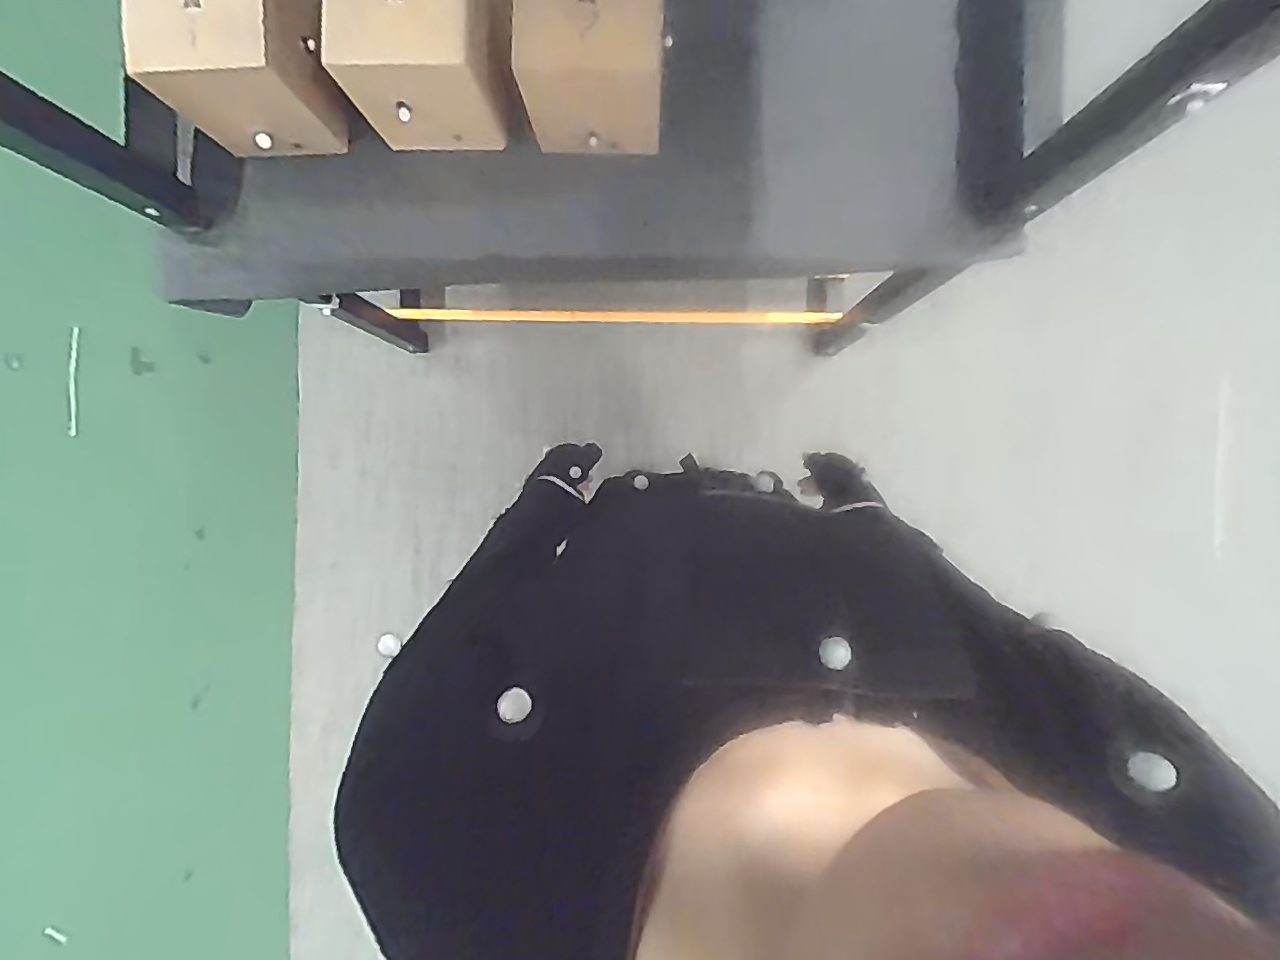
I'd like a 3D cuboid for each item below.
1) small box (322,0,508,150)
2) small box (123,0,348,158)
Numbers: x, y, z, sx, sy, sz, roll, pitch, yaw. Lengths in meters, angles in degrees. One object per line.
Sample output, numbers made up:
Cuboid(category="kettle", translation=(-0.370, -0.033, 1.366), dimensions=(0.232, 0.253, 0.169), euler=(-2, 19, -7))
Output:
Cuboid(category="small box", translation=(-0.270, -0.548, 0.682), dimensions=(0.168, 0.176, 0.179), euler=(1, 90, 1))
Cuboid(category="small box", translation=(-0.497, -0.546, 0.687), dimensions=(0.168, 0.176, 0.179), euler=(-1, 90, 2))
